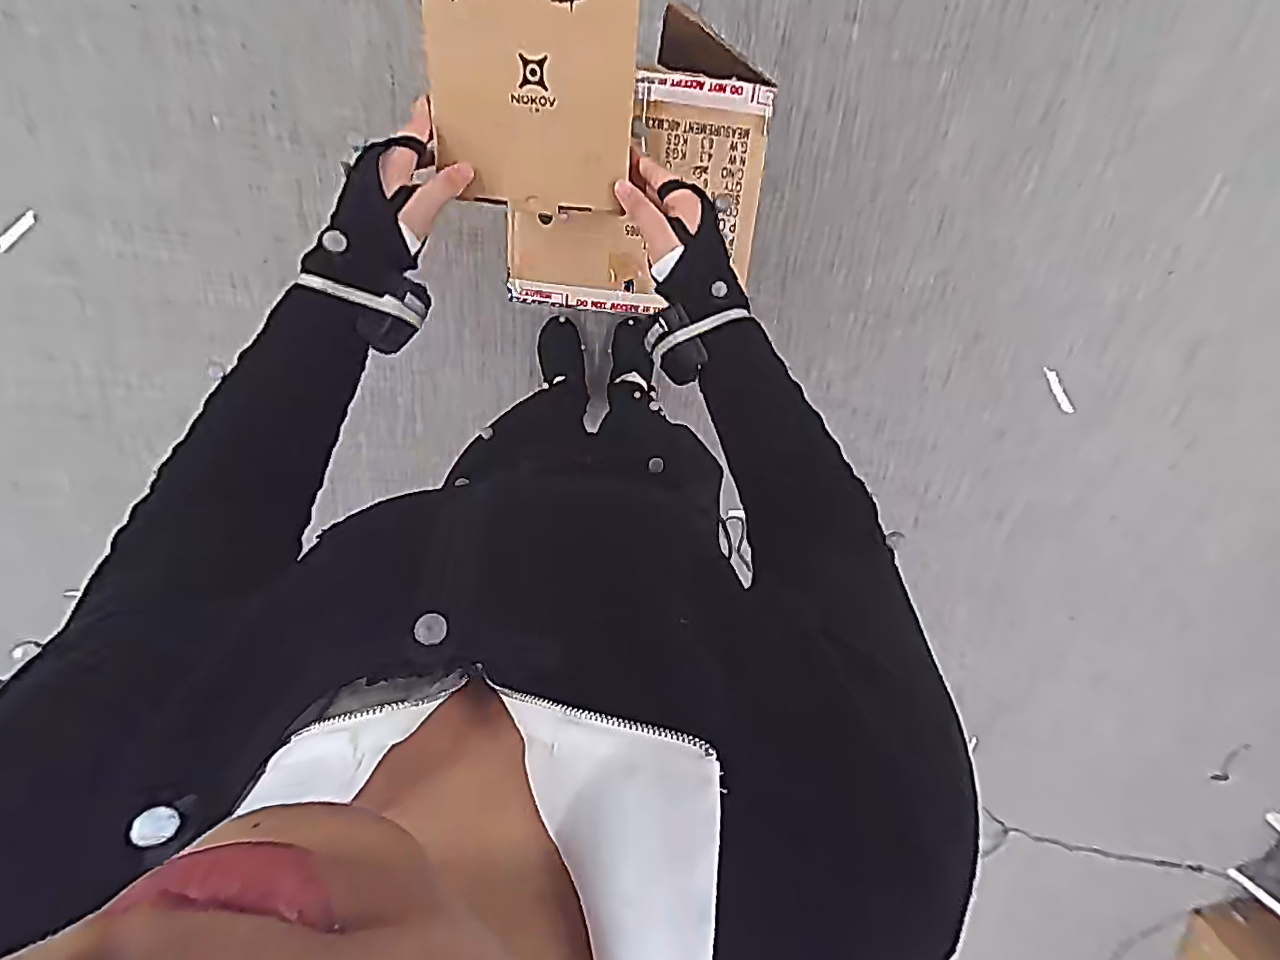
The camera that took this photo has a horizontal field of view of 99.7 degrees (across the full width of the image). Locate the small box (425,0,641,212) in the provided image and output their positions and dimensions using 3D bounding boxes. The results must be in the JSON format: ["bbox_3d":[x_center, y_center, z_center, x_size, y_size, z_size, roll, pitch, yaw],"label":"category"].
[{"bbox_3d":[-0.088,-0.361,0.511,0.168,0.176,0.179,4,117,-3],"label":"small box"}]
